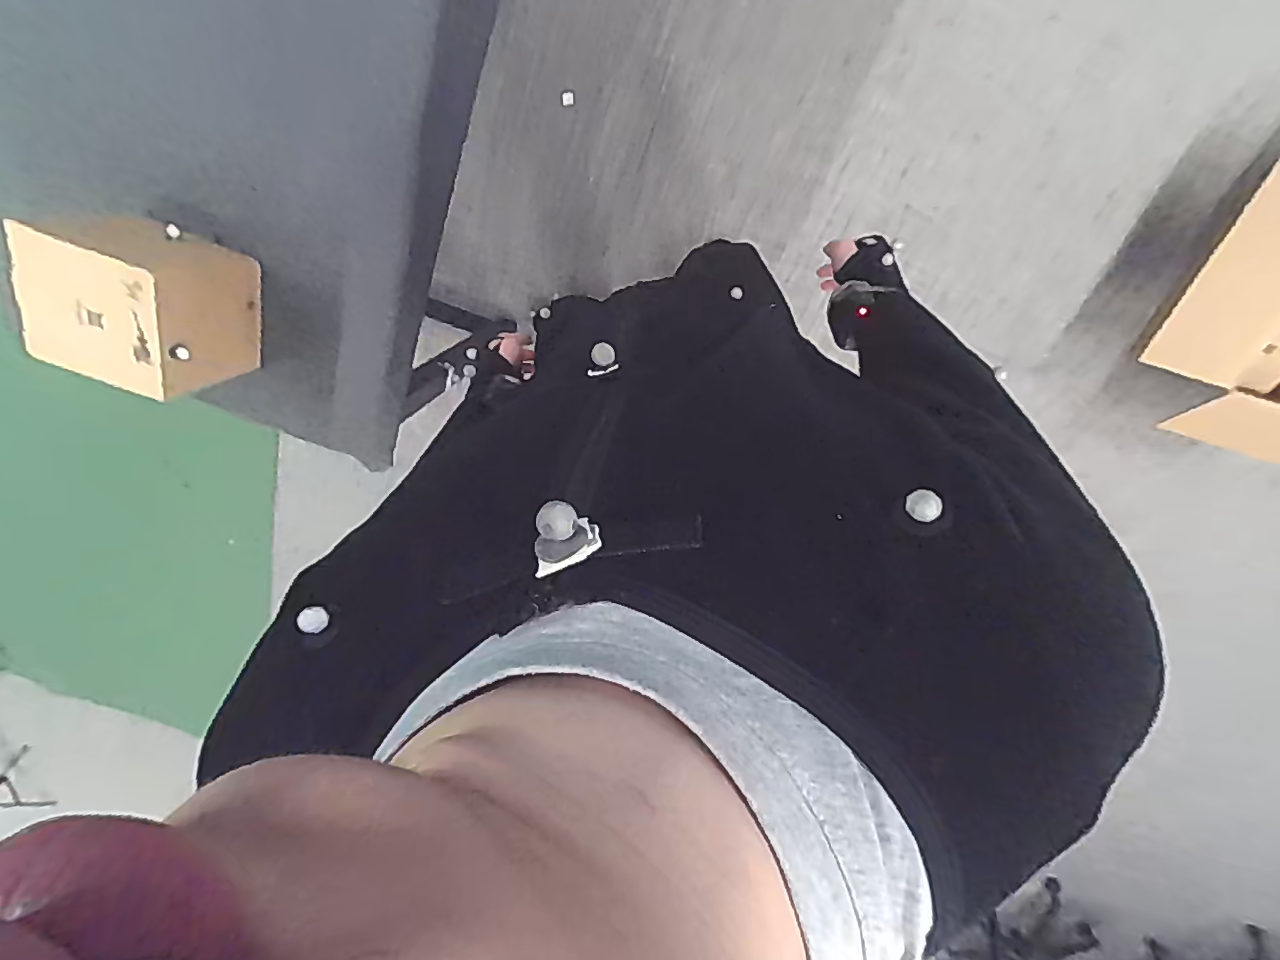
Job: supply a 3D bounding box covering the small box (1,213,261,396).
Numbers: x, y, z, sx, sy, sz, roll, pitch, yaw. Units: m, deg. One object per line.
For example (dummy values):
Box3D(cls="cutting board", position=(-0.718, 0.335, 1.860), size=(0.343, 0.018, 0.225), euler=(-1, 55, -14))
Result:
Box3D(cls="small box", position=(-0.645, -0.236, 0.712), size=(0.179, 0.176, 0.168), euler=(20, 119, -2))
